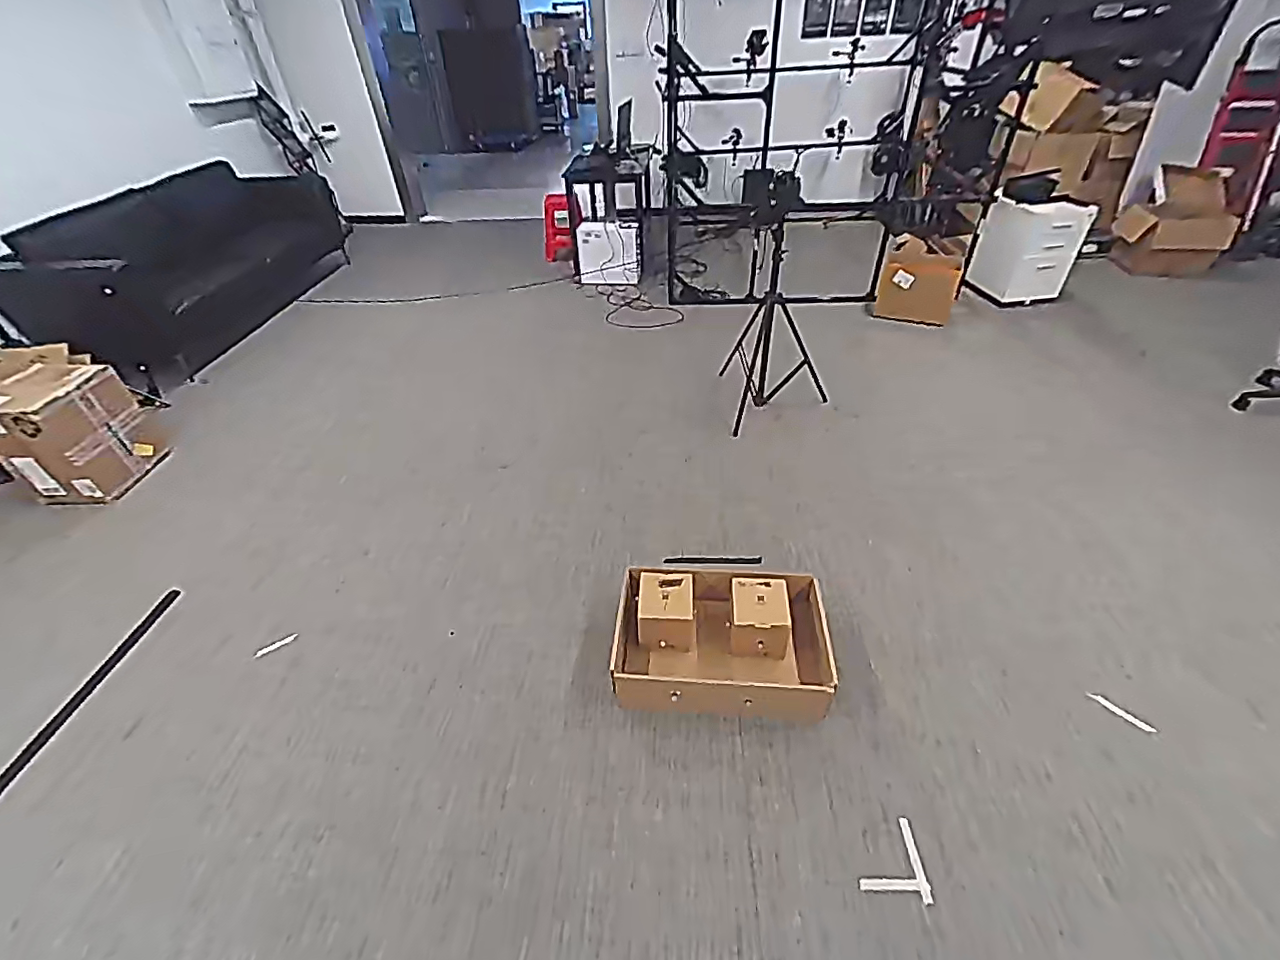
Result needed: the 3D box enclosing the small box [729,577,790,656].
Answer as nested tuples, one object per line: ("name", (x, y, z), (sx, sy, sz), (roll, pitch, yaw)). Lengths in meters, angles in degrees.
("small box", (0.365, 0.424, 1.670), (0.168, 0.176, 0.179), (2, 42, 6))
